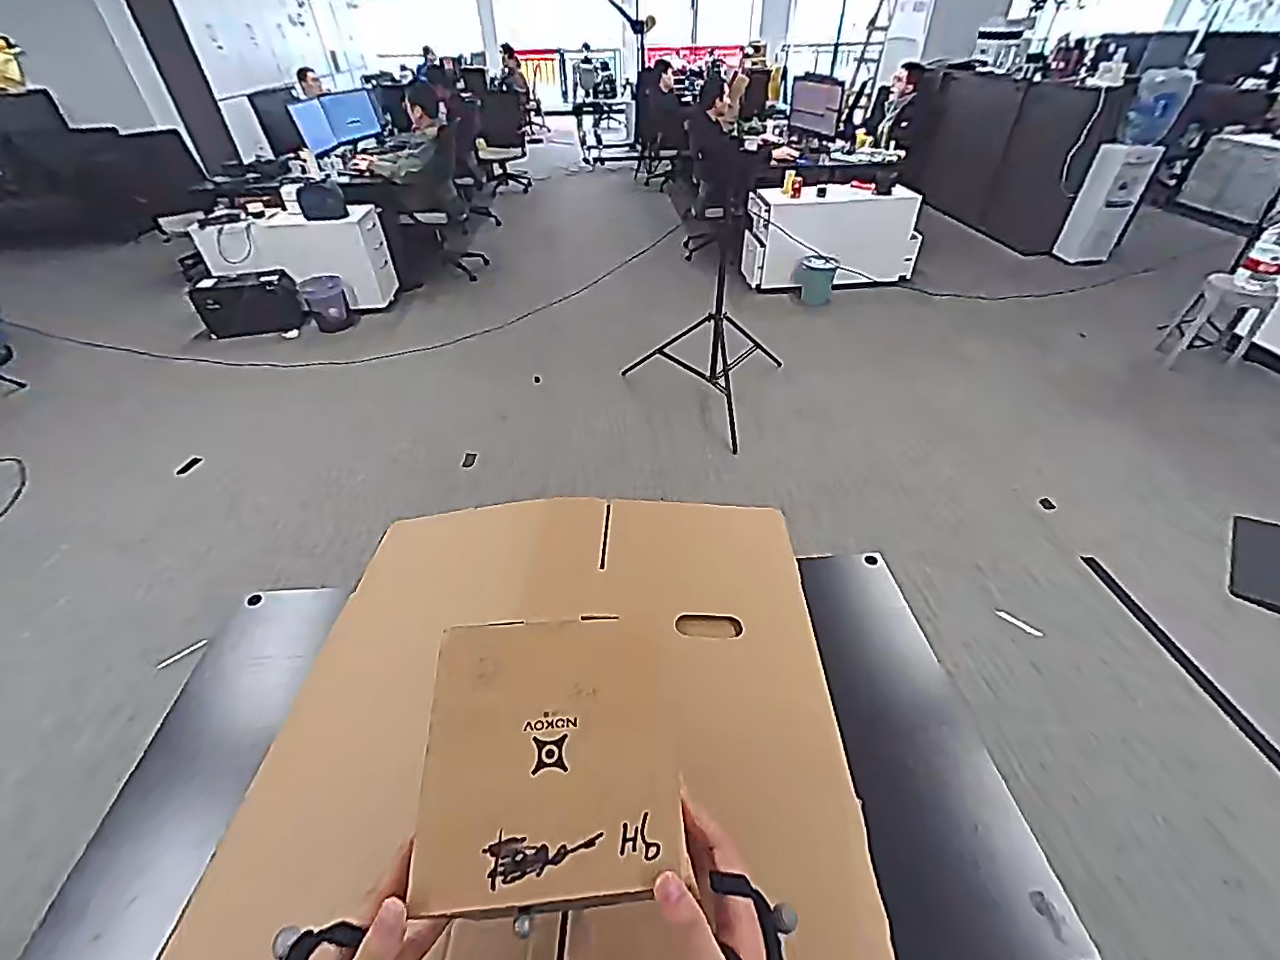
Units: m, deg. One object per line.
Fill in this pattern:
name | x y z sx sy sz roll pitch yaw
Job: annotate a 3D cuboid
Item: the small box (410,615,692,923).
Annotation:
small box | -0.061 0.227 0.426 0.168 0.176 0.179 -3 50 -5
